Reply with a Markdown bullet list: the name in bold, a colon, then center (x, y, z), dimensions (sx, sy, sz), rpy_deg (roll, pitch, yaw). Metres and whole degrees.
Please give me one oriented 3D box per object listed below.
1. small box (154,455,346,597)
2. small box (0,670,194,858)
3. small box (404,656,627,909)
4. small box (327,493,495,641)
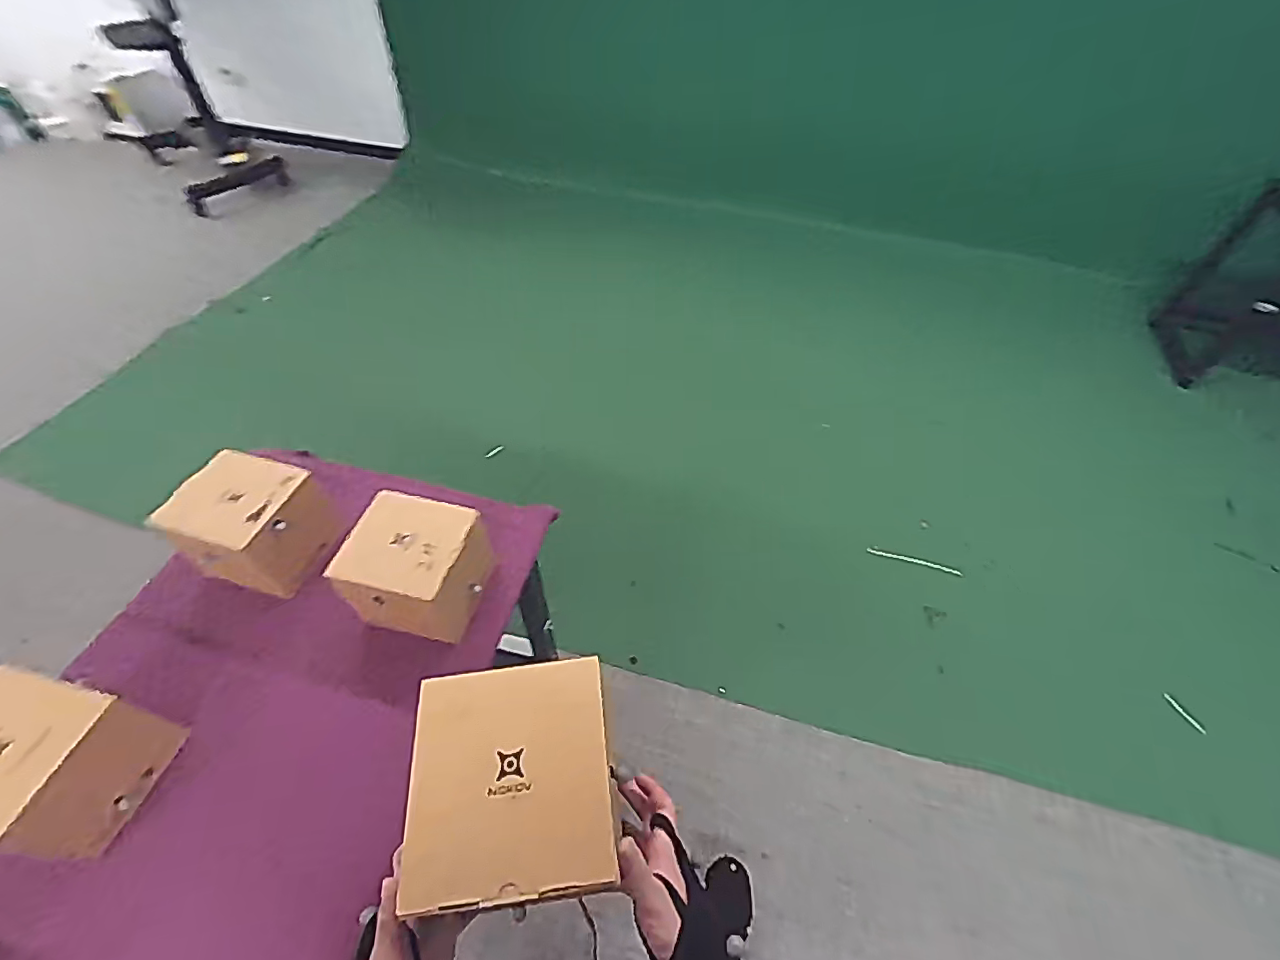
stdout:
- **small box**: center (-0.664, 0.085, 0.947), dimensions (0.179, 0.176, 0.168), rpy_deg (13, 52, 9)
- **small box**: center (-0.761, 0.375, 0.708), dimensions (0.179, 0.176, 0.168), rpy_deg (12, 52, 7)
- **small box**: center (-0.103, 0.289, 0.517), dimensions (0.168, 0.176, 0.179), rpy_deg (-6, 54, -3)
- **small box**: center (-0.364, 0.148, 0.899), dimensions (0.179, 0.176, 0.168), rpy_deg (12, 53, 7)
